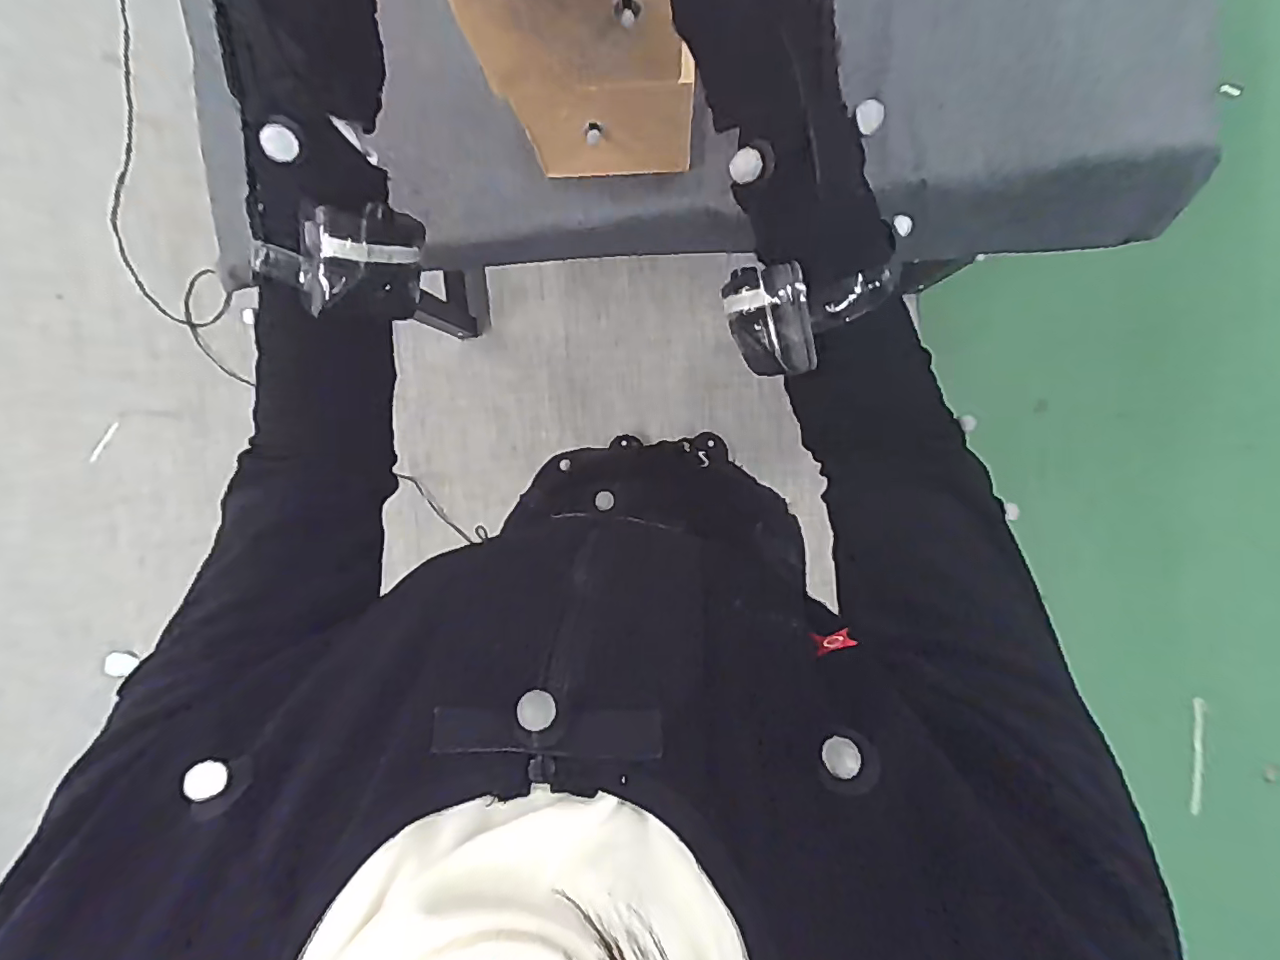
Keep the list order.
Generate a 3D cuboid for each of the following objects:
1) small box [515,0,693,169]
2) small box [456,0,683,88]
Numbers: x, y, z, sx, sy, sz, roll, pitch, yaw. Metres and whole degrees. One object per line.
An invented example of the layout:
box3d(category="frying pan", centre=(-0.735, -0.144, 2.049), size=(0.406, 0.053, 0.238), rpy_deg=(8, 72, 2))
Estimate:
box3d(category="small box", centre=(-0.033, -0.458, 0.580), size=(0.179, 0.176, 0.168), rpy_deg=(0, 94, 4))
box3d(category="small box", centre=(-0.054, -0.445, 0.419), size=(0.179, 0.176, 0.168), rpy_deg=(-2, 93, 4))
